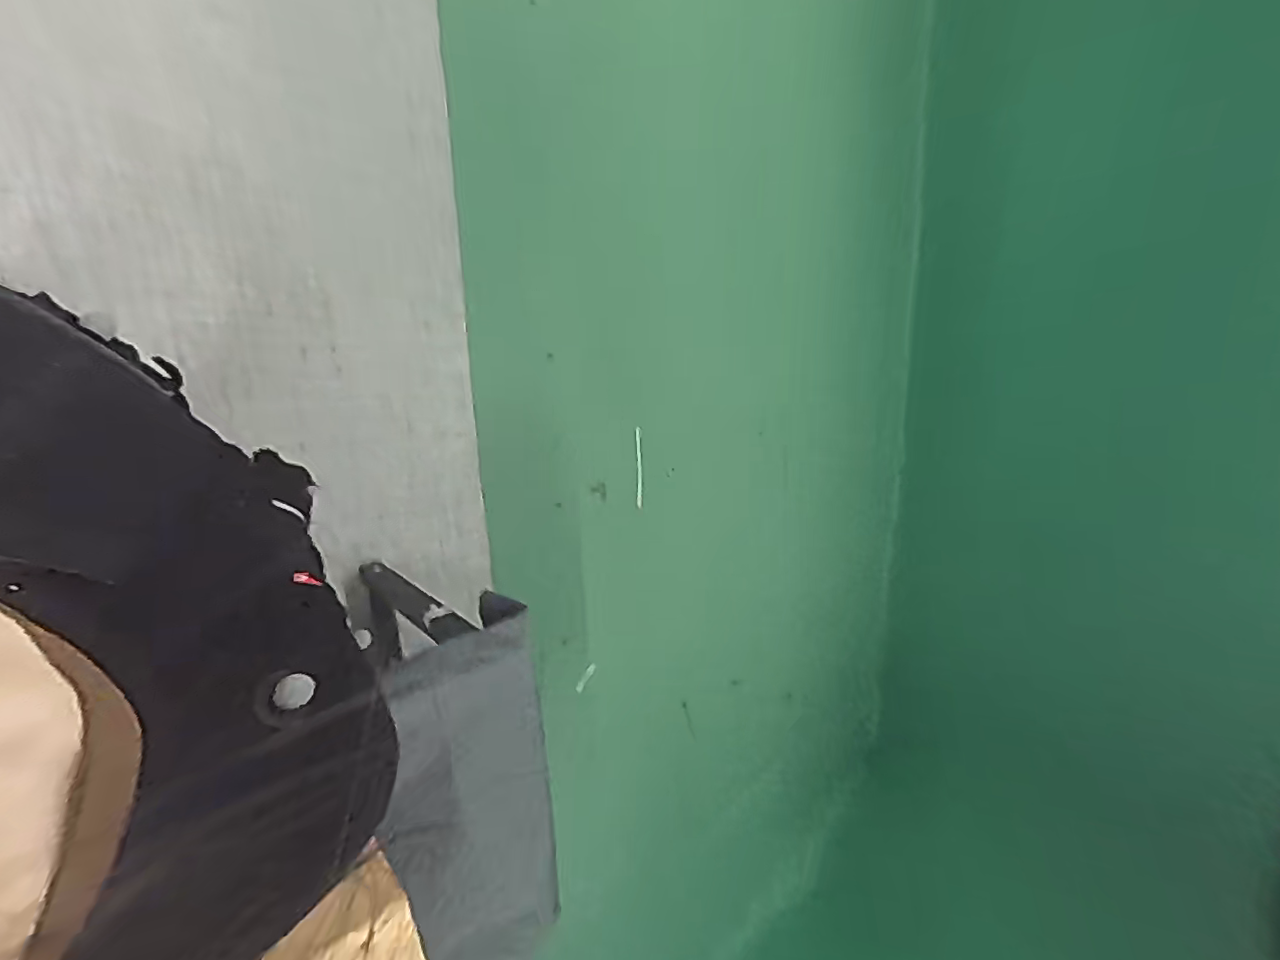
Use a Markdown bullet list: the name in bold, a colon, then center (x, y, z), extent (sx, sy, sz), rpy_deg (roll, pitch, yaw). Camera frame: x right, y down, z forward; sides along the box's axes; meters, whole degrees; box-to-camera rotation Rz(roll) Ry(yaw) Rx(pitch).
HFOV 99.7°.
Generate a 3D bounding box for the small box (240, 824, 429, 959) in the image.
- **small box**: center (-0.395, 0.609, 0.710), extent (0.168, 0.176, 0.179), rpy_deg (-20, 111, -41)
